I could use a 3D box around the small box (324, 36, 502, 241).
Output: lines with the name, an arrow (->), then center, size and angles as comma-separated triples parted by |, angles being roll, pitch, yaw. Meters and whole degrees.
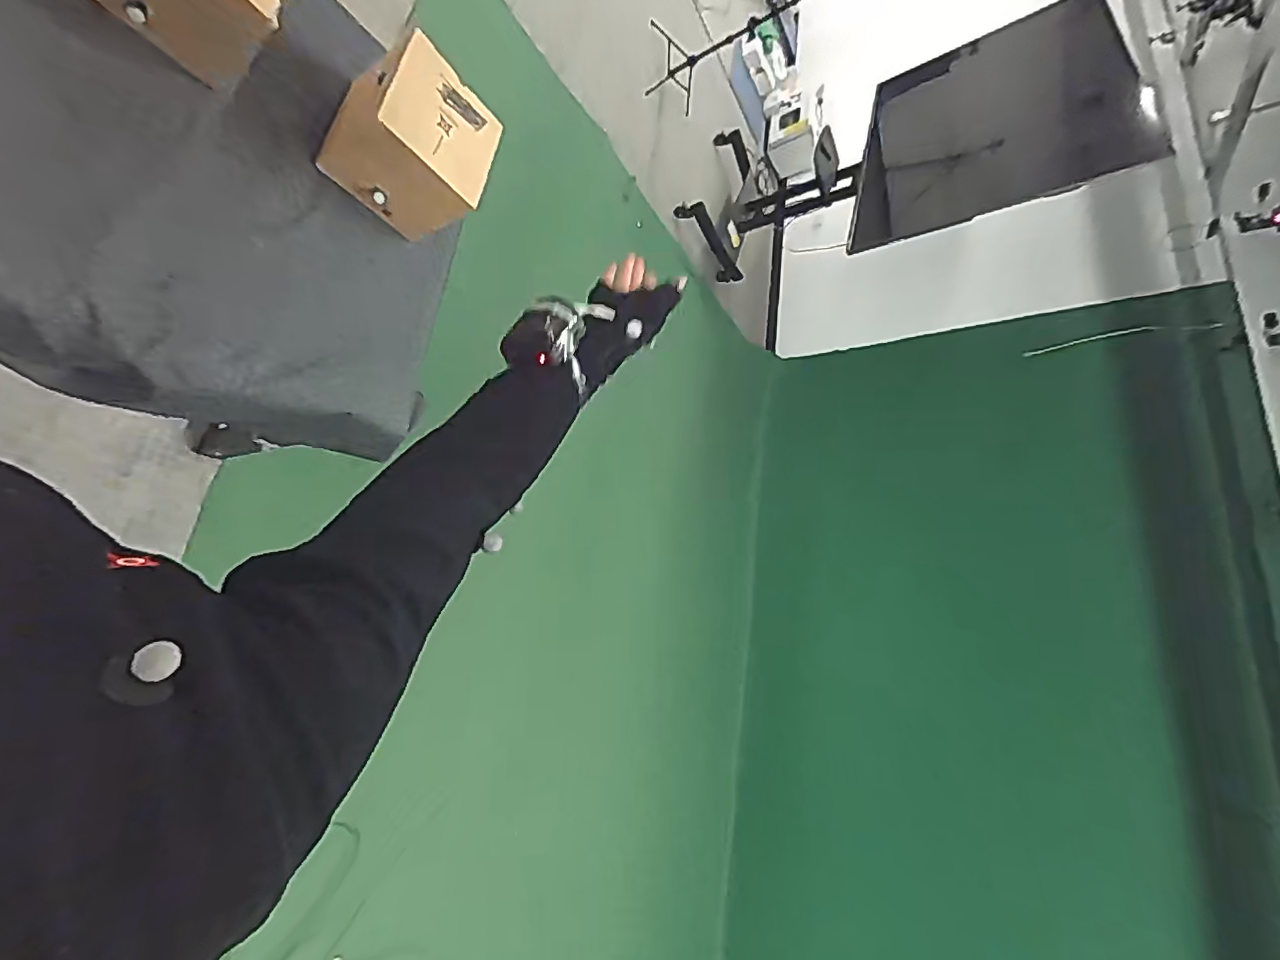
small box -> -0.345, -0.508, 0.828 | 0.168, 0.176, 0.179 | 33, 61, -49
